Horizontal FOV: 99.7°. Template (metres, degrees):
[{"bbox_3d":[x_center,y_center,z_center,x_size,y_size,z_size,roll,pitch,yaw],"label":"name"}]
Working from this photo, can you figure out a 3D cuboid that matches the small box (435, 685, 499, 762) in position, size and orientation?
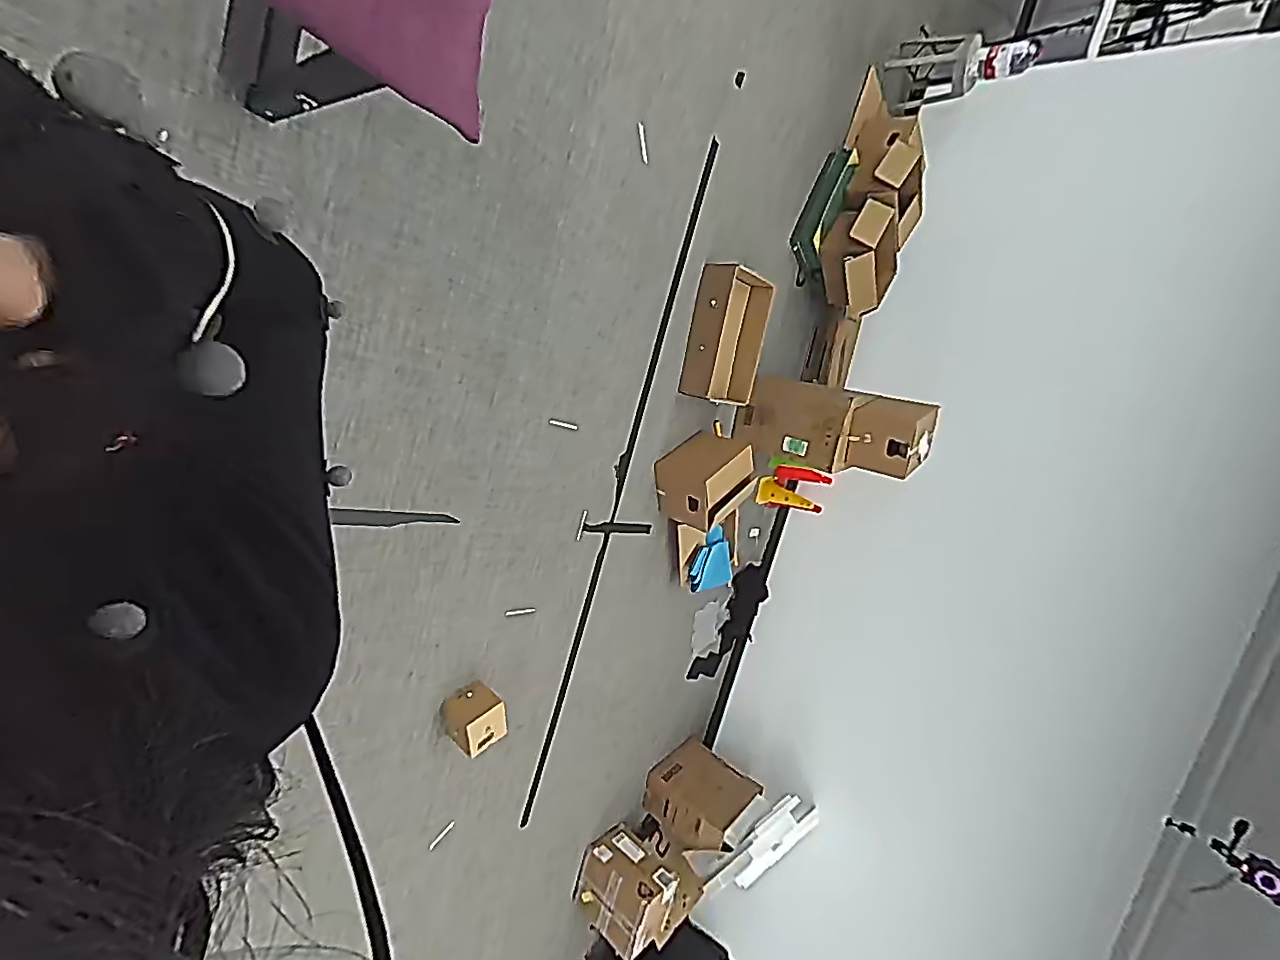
[{"bbox_3d":[-0.665,0.931,2.082,0.168,0.176,0.179,-24,124,-45],"label":"small box"}]
